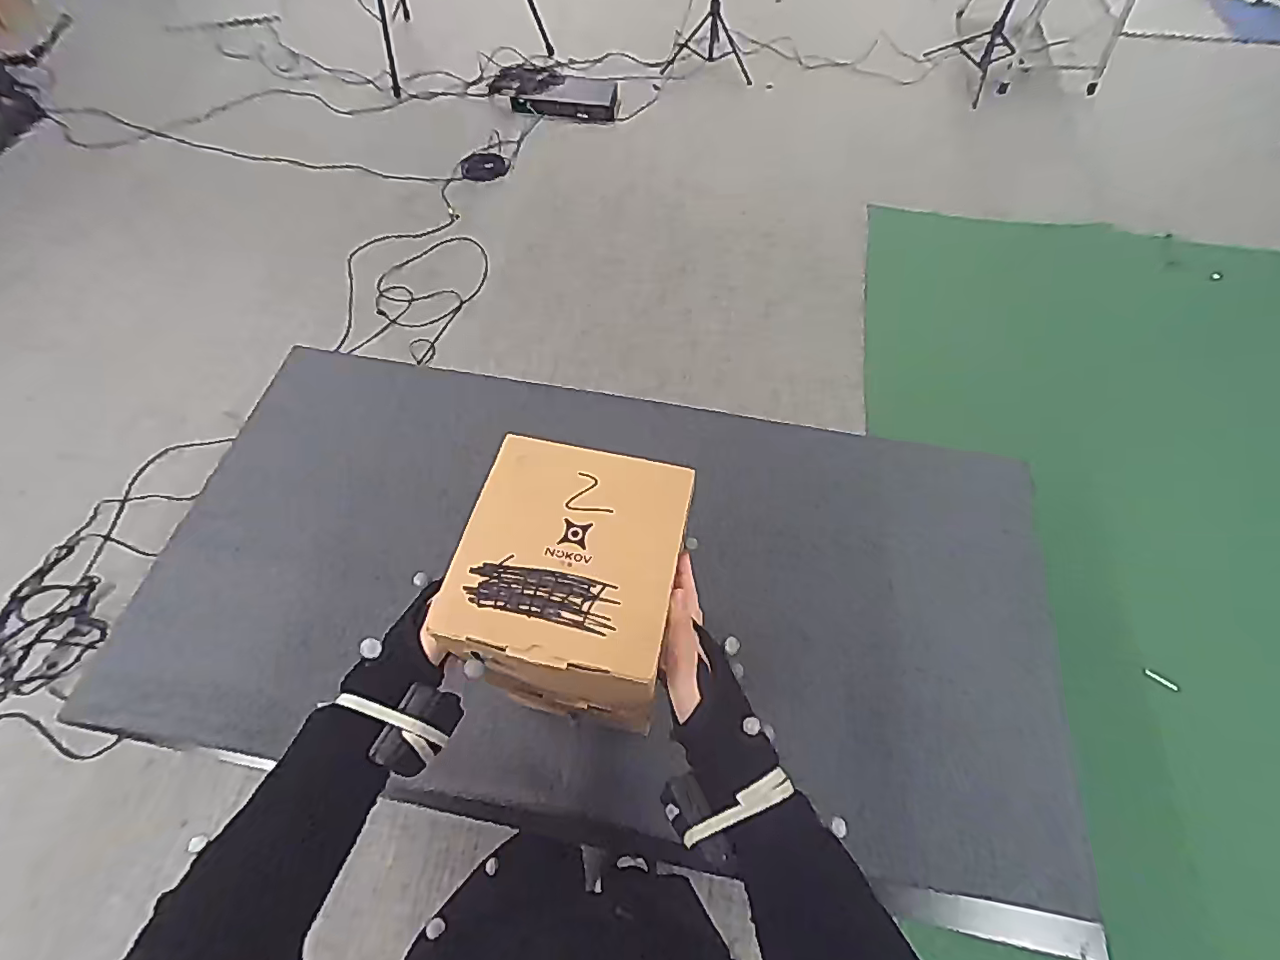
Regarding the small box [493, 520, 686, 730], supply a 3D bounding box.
[{"bbox_3d":[-0.047,0.171,0.622,0.168,0.176,0.179,10,61,6],"label":"small box"}]
